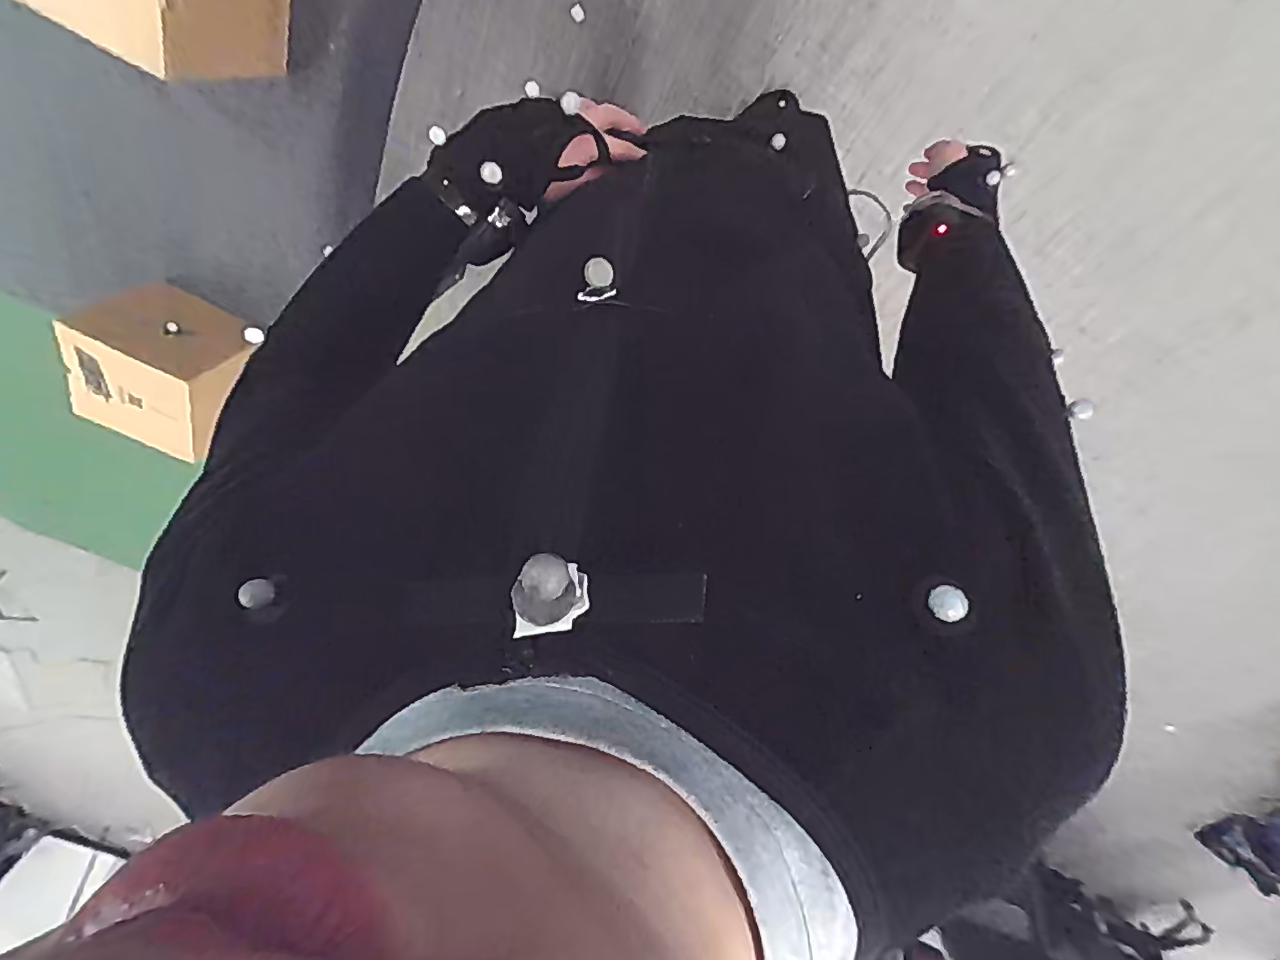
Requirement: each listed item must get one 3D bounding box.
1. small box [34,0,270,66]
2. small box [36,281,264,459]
[{"bbox_3d":[-0.463,-0.512,0.485,0.179,0.176,0.168,28,127,-9],"label":"small box"},{"bbox_3d":[-0.703,-0.170,0.799,0.179,0.176,0.168,27,128,-10],"label":"small box"}]
